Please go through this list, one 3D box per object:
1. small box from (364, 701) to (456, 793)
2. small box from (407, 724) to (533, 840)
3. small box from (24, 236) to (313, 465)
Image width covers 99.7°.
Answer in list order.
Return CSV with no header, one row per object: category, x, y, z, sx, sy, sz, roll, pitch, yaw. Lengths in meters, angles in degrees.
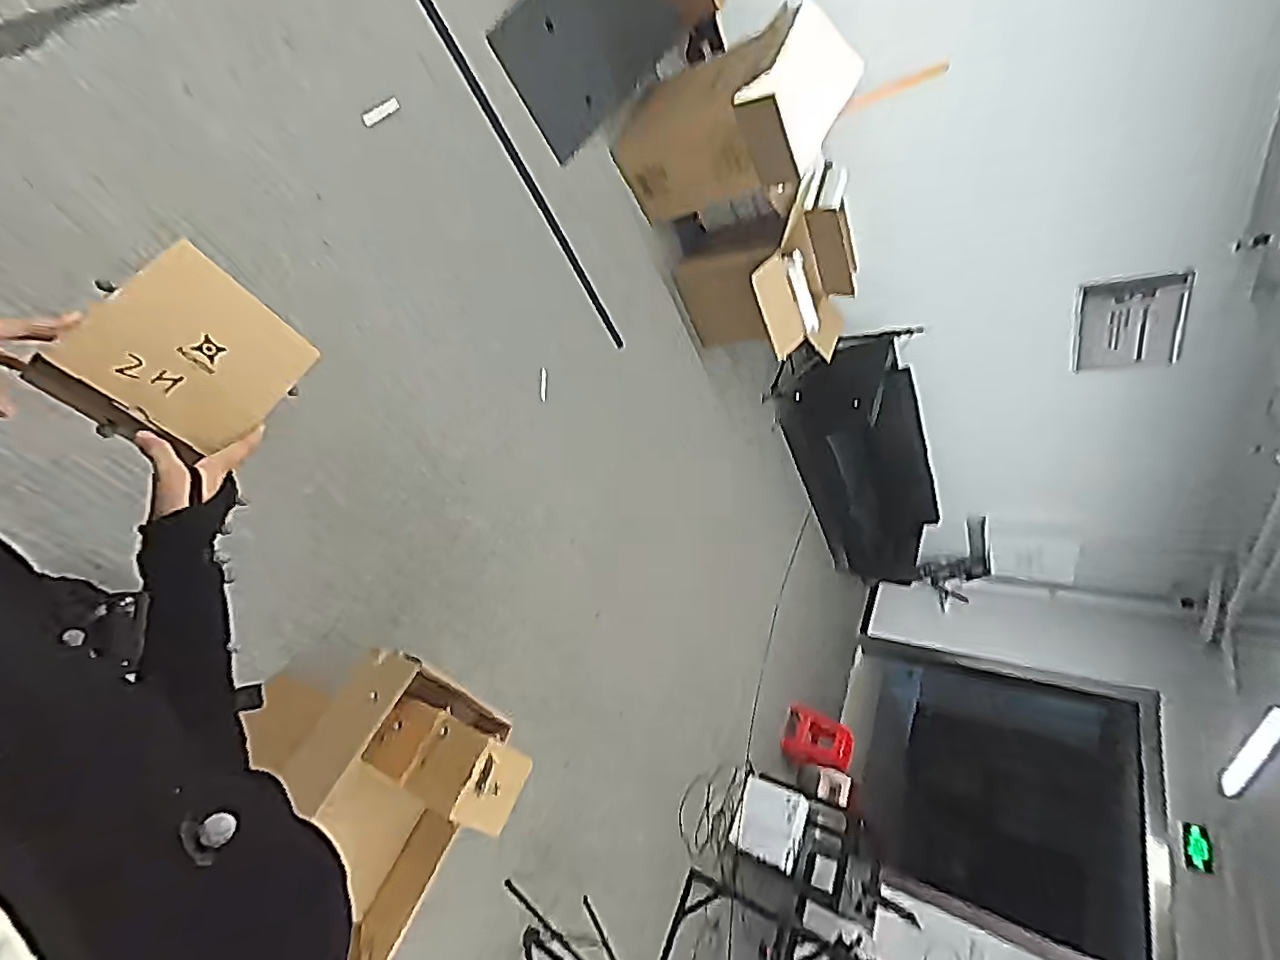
small box,-0.523,0.662,1.317,0.179,0.176,0.168,56,49,-38
small box,-0.386,0.677,1.227,0.179,0.176,0.168,57,49,-39
small box,-0.524,-0.133,0.606,0.168,0.176,0.179,49,54,-40
